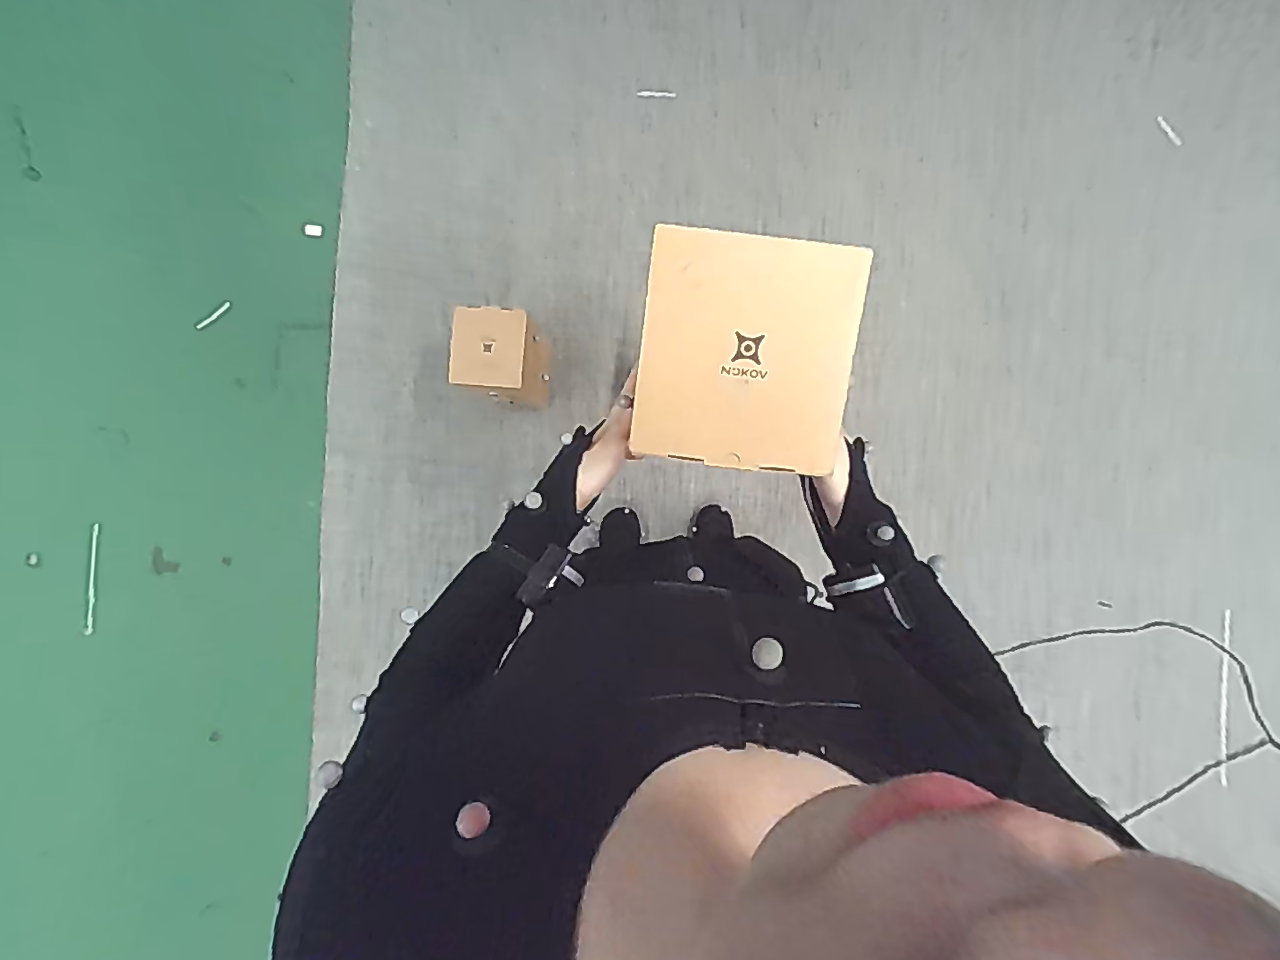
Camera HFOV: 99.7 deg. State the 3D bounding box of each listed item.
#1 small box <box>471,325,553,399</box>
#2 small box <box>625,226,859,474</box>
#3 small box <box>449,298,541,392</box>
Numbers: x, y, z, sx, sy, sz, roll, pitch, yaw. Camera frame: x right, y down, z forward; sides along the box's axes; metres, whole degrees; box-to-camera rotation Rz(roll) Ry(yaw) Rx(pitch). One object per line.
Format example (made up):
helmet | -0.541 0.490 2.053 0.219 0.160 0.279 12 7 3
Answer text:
small box | -0.334 -0.316 1.439 0.168 0.176 0.179 8 91 1
small box | 0.078 -0.114 0.505 0.168 0.176 0.179 7 102 -1
small box | -0.334 -0.313 1.276 0.168 0.176 0.179 4 92 2
